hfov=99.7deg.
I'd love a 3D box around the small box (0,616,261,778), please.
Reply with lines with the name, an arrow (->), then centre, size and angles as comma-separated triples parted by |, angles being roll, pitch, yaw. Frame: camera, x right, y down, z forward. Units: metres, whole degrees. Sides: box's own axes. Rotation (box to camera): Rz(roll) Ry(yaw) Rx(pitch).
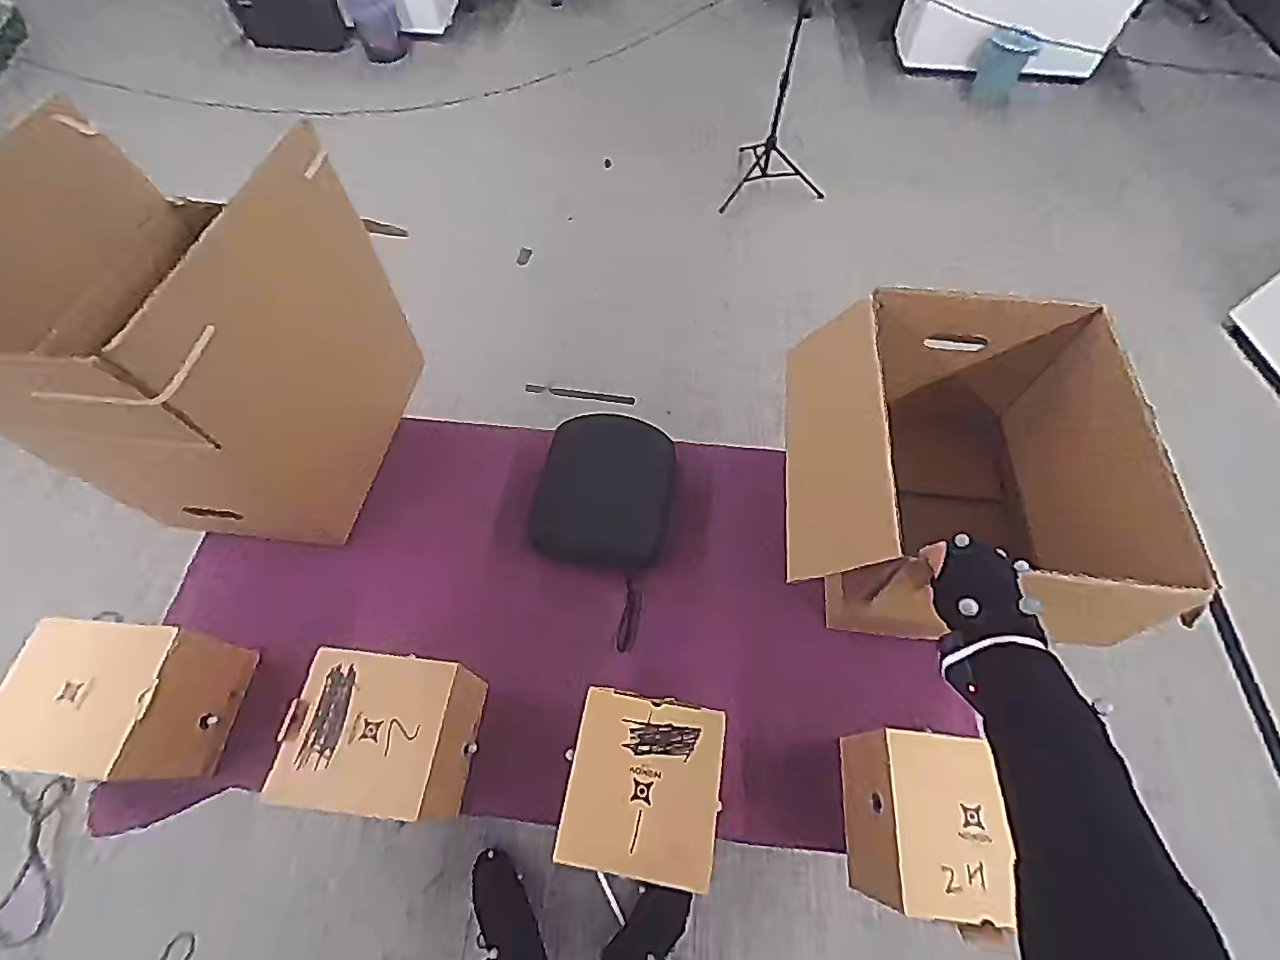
small box -> -0.651, 0.285, 0.699 | 0.179, 0.176, 0.168 | 5, 61, 0

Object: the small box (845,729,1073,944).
small box -> 0.354, 0.409, 0.644 | 0.168, 0.176, 0.179 | 6, 61, 4

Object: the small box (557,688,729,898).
small box -> 0.006, 0.372, 0.662 | 0.168, 0.176, 0.179 | 10, 62, 5
